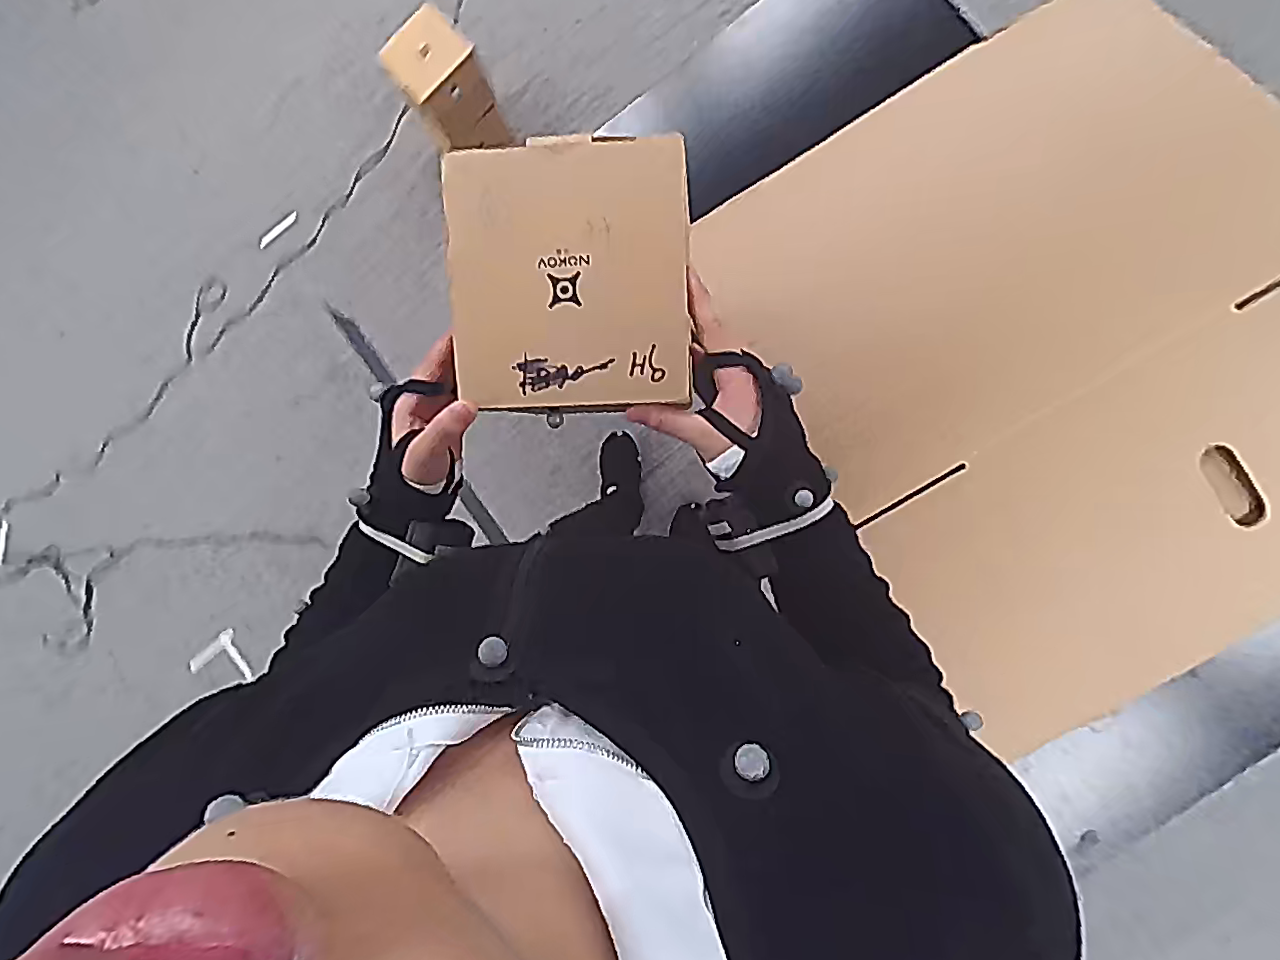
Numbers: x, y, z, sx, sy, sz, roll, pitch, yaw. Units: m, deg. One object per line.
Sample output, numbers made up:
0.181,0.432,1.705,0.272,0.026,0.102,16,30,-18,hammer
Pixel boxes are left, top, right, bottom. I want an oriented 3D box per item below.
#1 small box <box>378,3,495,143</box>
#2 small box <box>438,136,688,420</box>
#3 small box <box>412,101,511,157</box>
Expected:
-0.488,-0.983,1.325,0.179,0.176,0.168,-43,86,2,small box
-0.046,-0.142,0.445,0.168,0.176,0.179,-2,95,7,small box
-0.477,-0.974,1.487,0.179,0.176,0.168,-40,86,4,small box
